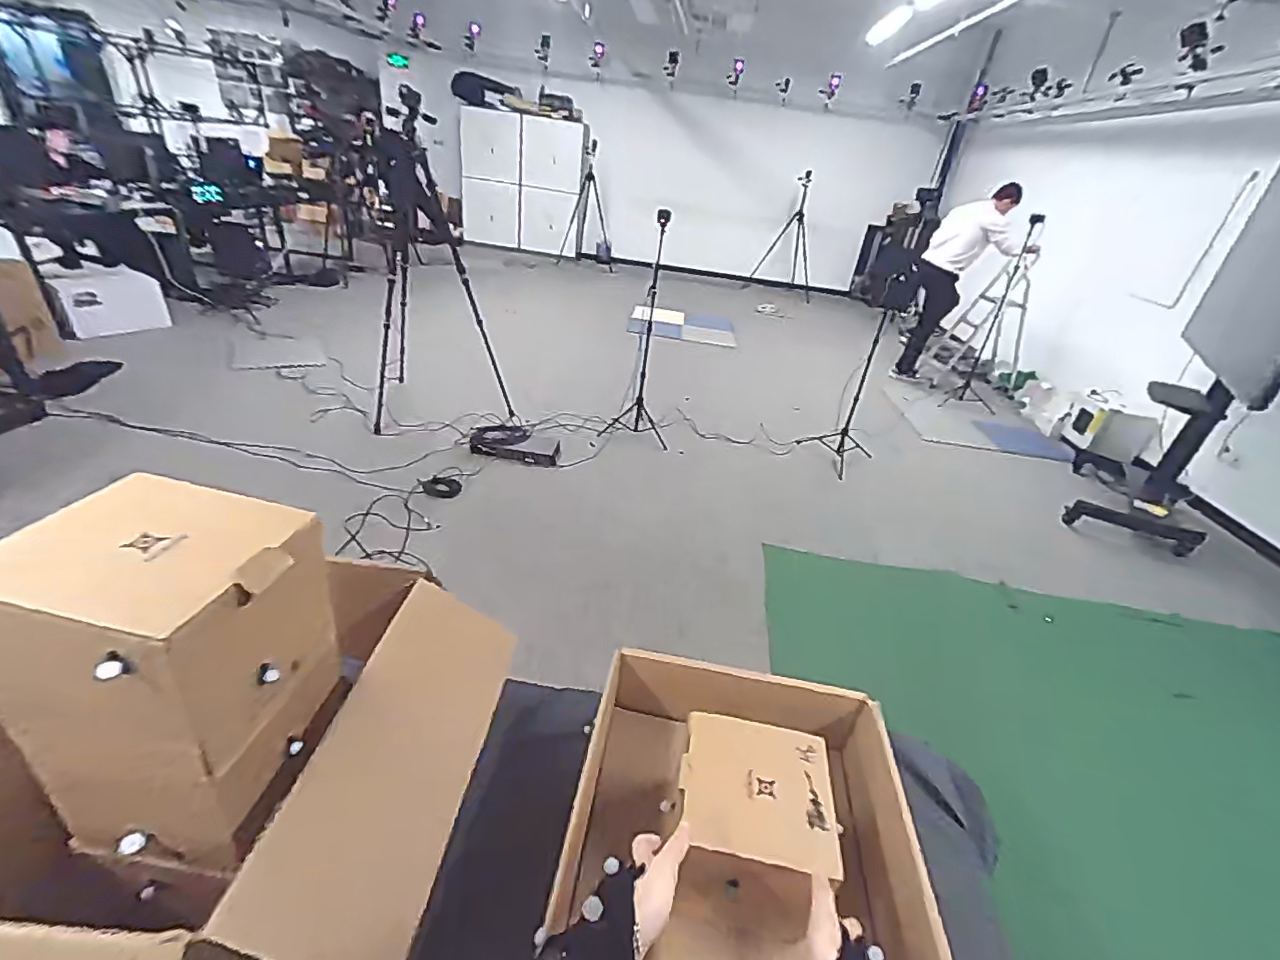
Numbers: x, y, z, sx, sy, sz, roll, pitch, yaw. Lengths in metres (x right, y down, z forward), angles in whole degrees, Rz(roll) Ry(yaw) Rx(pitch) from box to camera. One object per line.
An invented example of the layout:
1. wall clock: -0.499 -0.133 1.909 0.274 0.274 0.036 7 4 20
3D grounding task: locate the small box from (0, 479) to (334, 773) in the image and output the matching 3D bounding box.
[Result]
1. small box: -0.402 0.124 0.476 0.179 0.176 0.168 13 29 0
